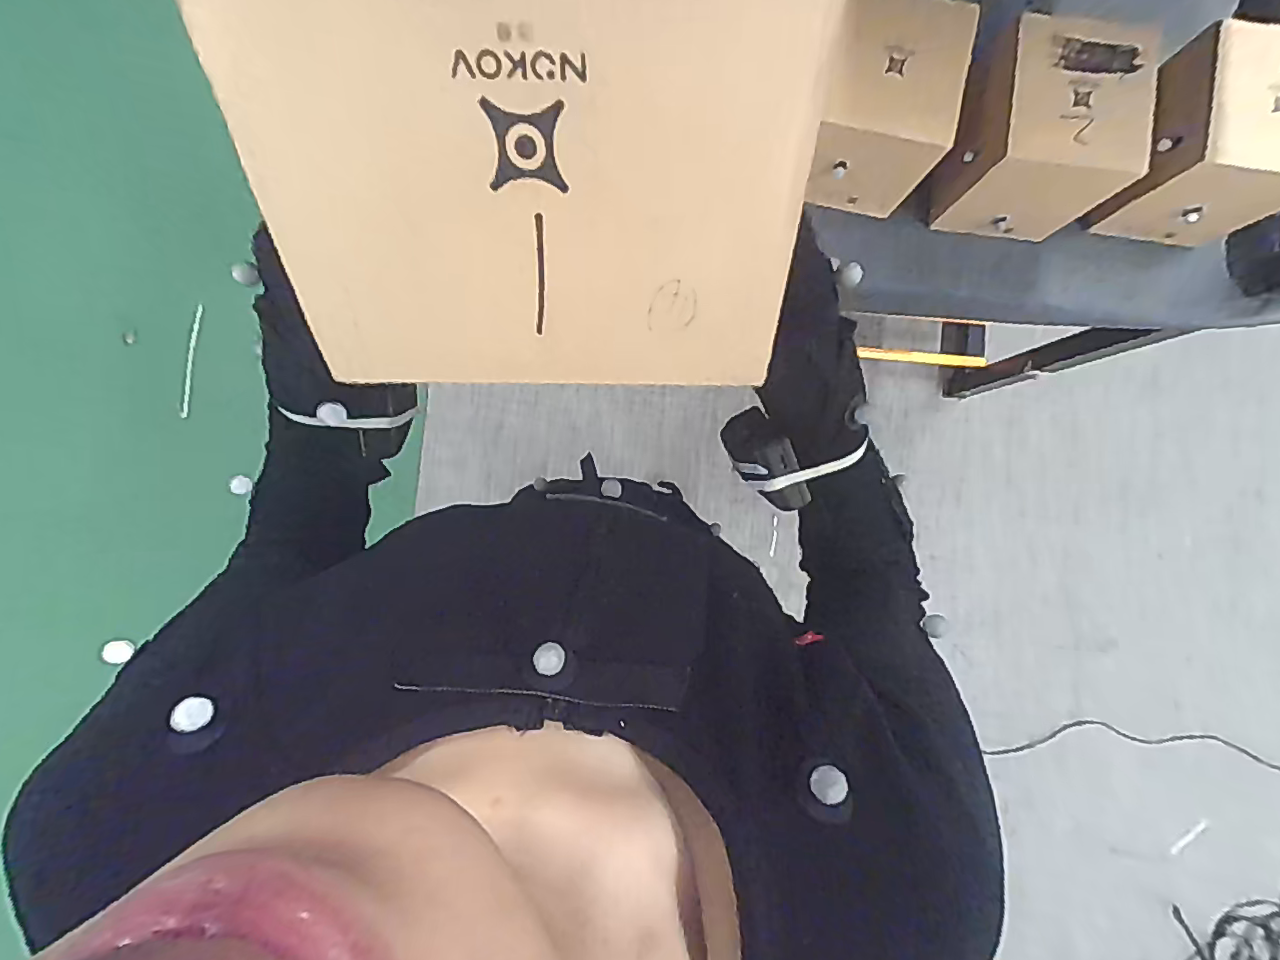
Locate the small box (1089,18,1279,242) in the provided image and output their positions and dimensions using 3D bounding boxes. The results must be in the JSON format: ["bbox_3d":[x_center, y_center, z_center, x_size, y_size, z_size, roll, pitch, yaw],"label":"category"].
[{"bbox_3d":[0.736,-0.436,0.703,0.168,0.176,0.179,8,88,-1],"label":"small box"}]

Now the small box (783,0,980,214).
[{"bbox_3d":[0.296,-0.480,0.704,0.168,0.176,0.179,12,88,0],"label":"small box"}]
